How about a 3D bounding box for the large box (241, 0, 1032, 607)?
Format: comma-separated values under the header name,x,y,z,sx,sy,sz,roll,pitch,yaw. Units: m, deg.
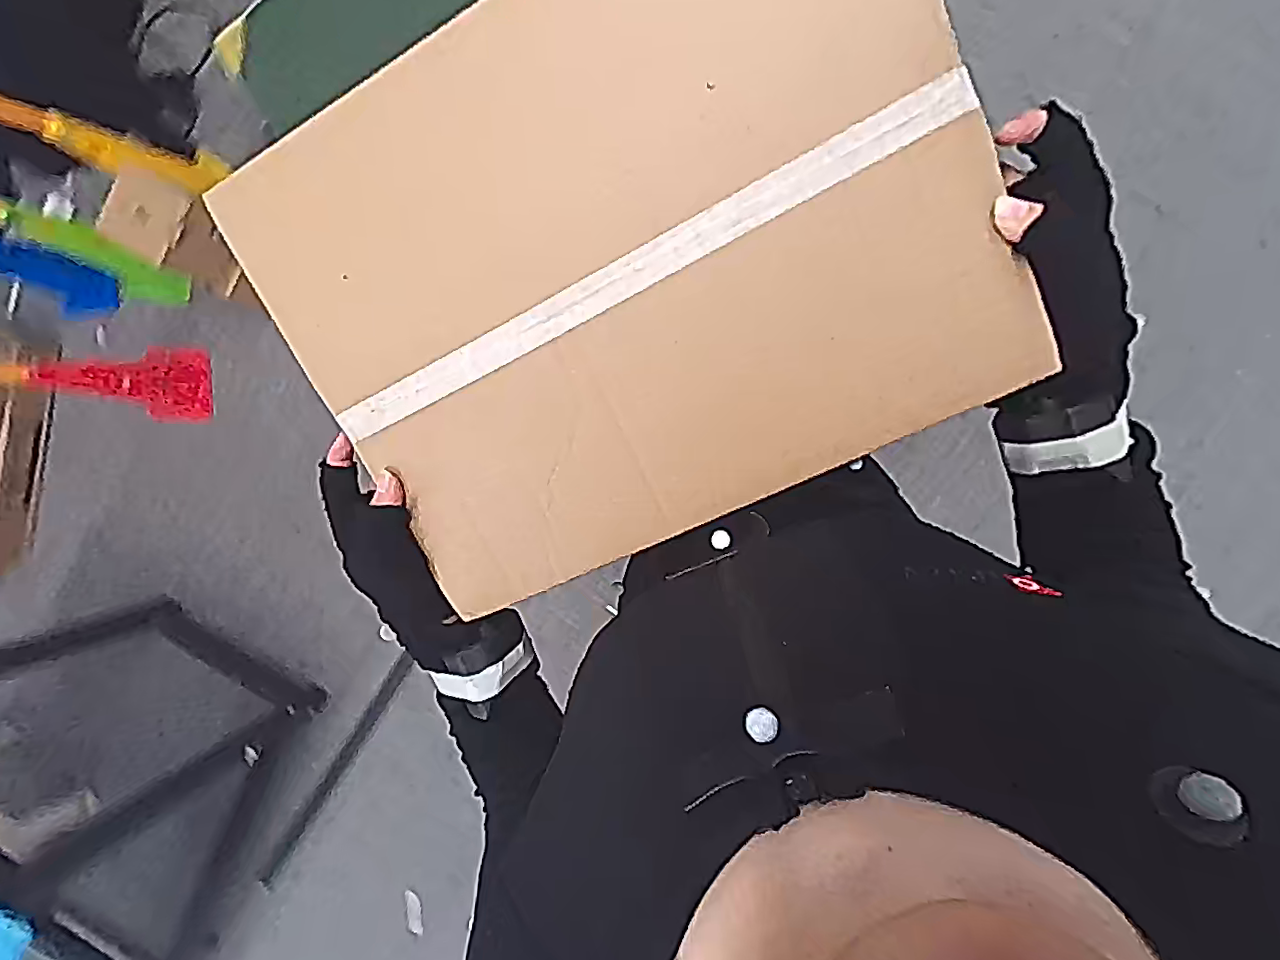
name,x,y,z,sx,sy,sz,roll,pitch,yaw
large box,0.007,-0.158,0.468,0.408,0.320,0.320,-23,101,12
